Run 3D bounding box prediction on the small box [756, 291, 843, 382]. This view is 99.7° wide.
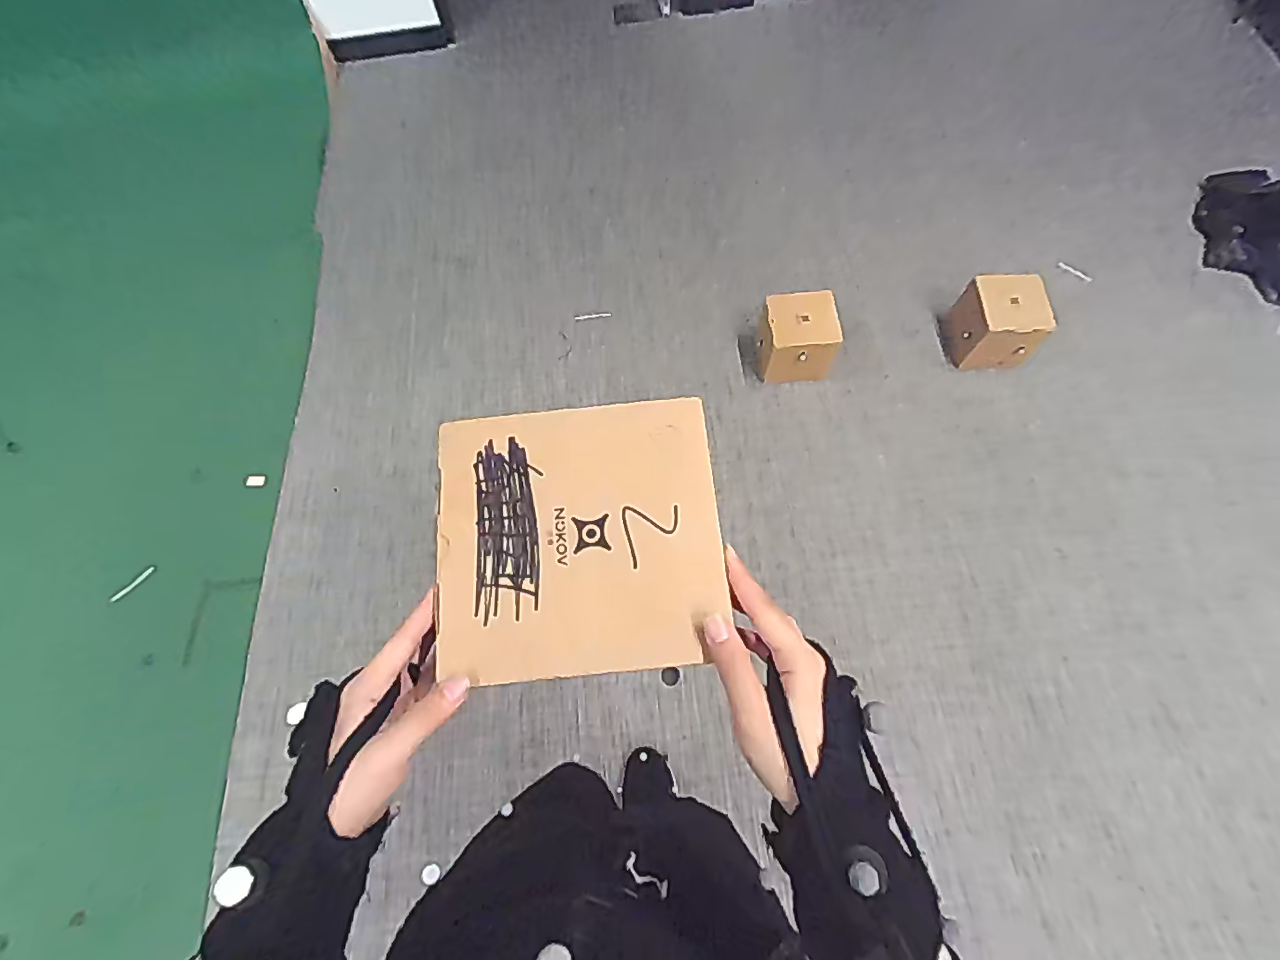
[{"bbox_3d":[0.419,-0.378,1.443,0.179,0.176,0.168,-4,68,2],"label":"small box"}]

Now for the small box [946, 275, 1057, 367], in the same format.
[{"bbox_3d":[0.941,-0.413,1.426,0.168,0.176,0.179,0,67,2],"label":"small box"}]
